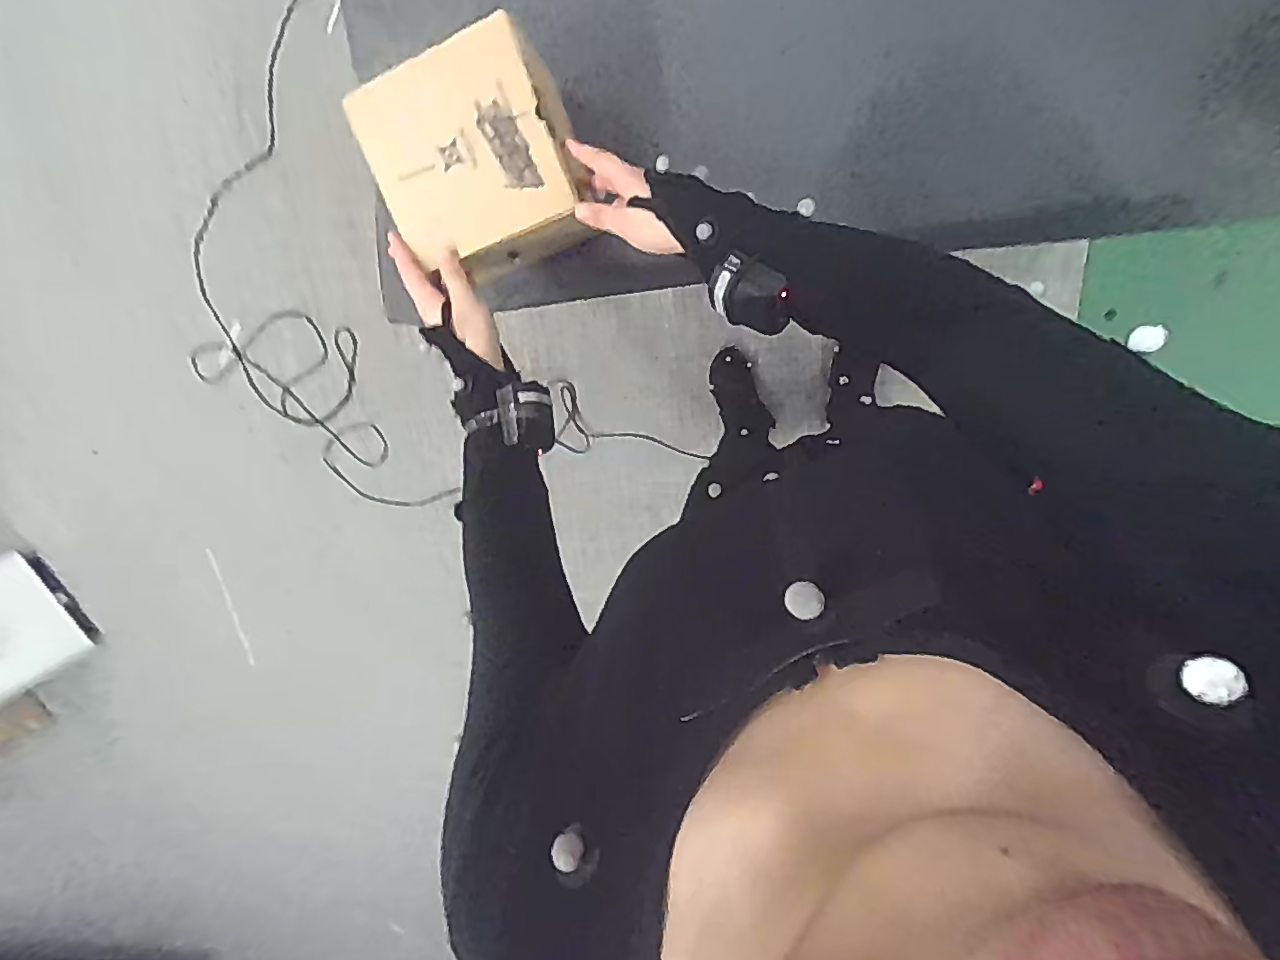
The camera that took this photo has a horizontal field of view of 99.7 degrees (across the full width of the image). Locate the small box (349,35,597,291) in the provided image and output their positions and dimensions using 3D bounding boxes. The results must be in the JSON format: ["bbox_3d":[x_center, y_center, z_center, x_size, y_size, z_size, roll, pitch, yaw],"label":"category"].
[{"bbox_3d":[-0.156,-0.314,0.580,0.179,0.176,0.168,-17,105,13],"label":"small box"}]
